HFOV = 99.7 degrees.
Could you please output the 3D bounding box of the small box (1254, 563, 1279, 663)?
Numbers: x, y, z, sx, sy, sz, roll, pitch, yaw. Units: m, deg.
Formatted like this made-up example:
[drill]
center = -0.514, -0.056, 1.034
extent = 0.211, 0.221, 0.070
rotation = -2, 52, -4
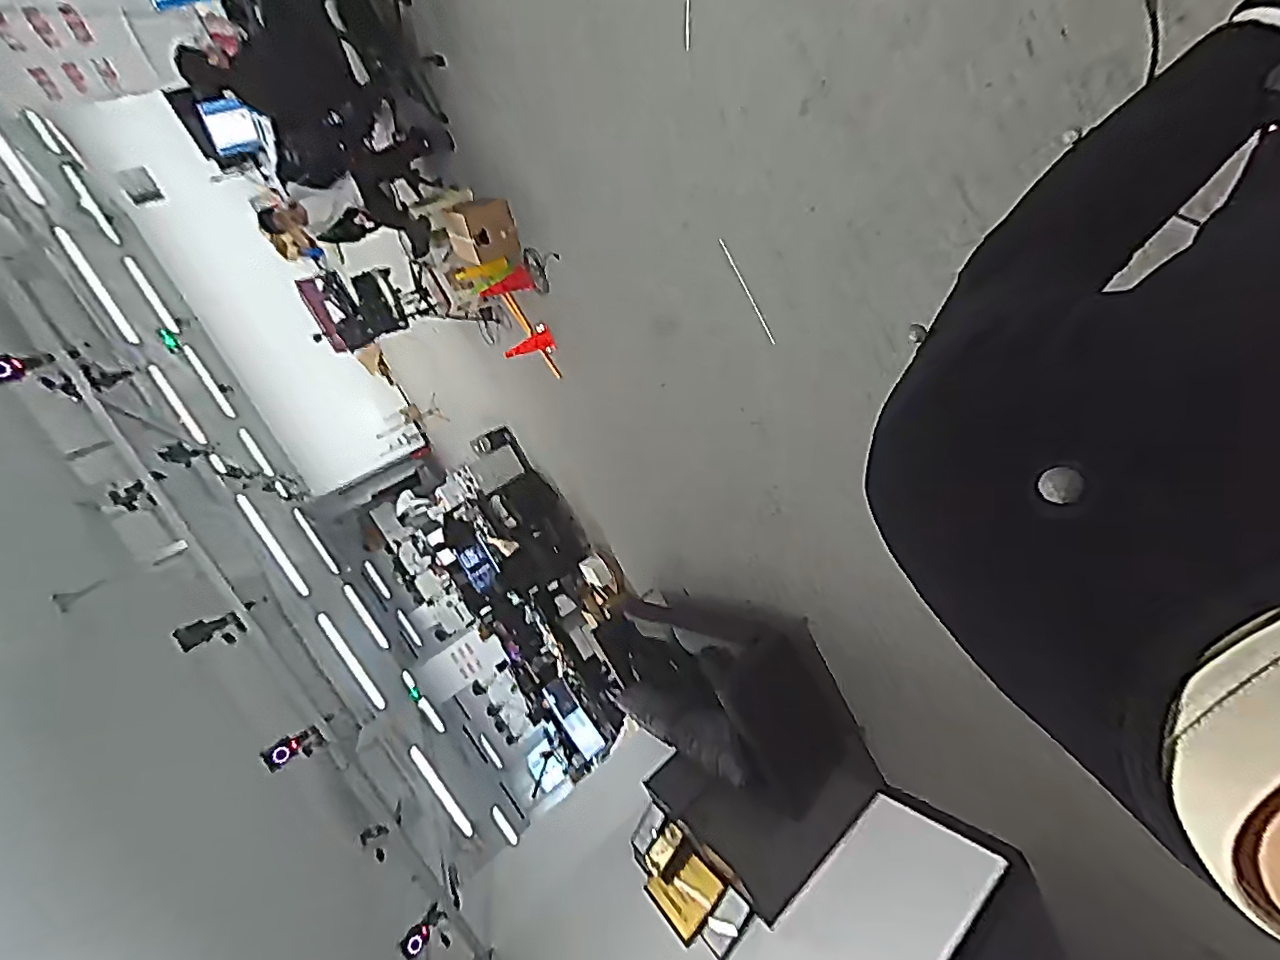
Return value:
[small box]
center = 1.550, 0.318, 1.237
extent = 0.168, 0.176, 0.179
rotation = 8, 125, 56
